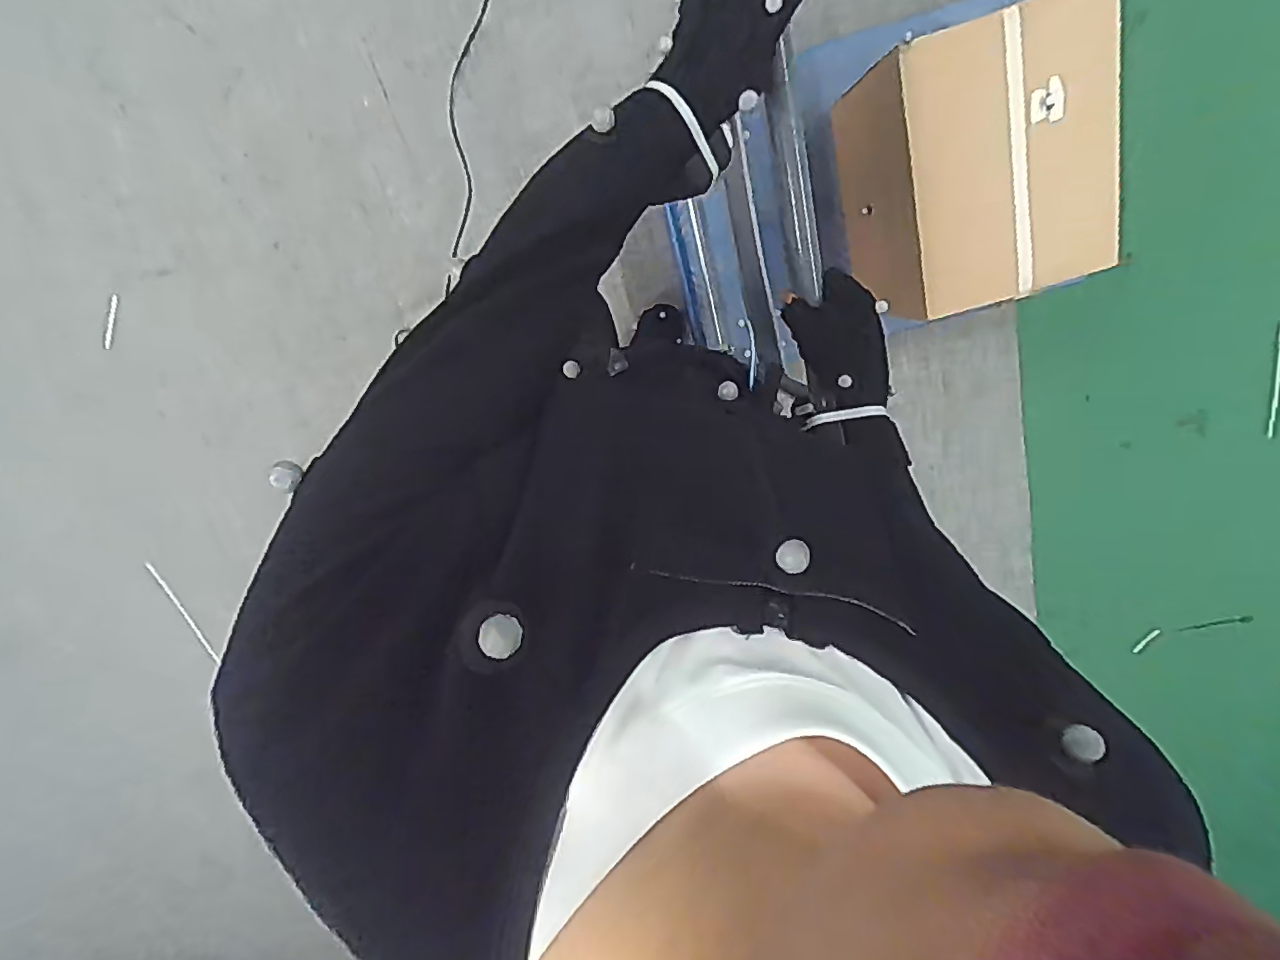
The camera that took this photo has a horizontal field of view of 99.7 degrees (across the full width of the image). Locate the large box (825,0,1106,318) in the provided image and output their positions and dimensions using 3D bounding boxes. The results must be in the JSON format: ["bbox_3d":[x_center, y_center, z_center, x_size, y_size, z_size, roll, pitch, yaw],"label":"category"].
[{"bbox_3d":[0.568,-0.543,0.990,0.320,0.320,0.408,-16,108,4],"label":"large box"}]
